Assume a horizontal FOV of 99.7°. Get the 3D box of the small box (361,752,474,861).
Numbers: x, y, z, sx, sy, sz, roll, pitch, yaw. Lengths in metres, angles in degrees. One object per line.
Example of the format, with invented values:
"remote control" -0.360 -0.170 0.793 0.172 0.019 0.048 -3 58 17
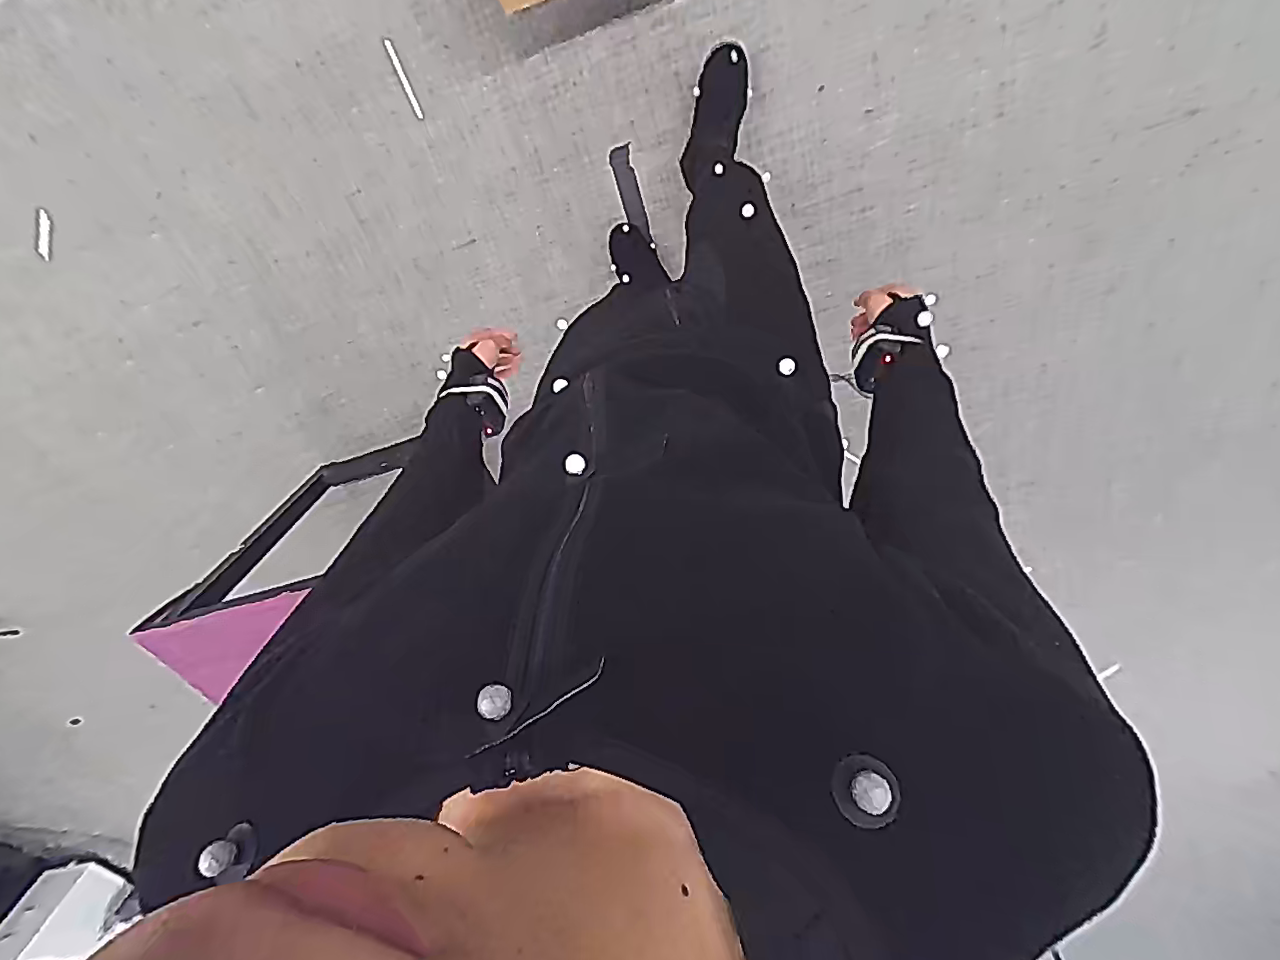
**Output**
"small box" -0.550 0.818 1.362 0.179 0.176 0.168 -19 120 12
